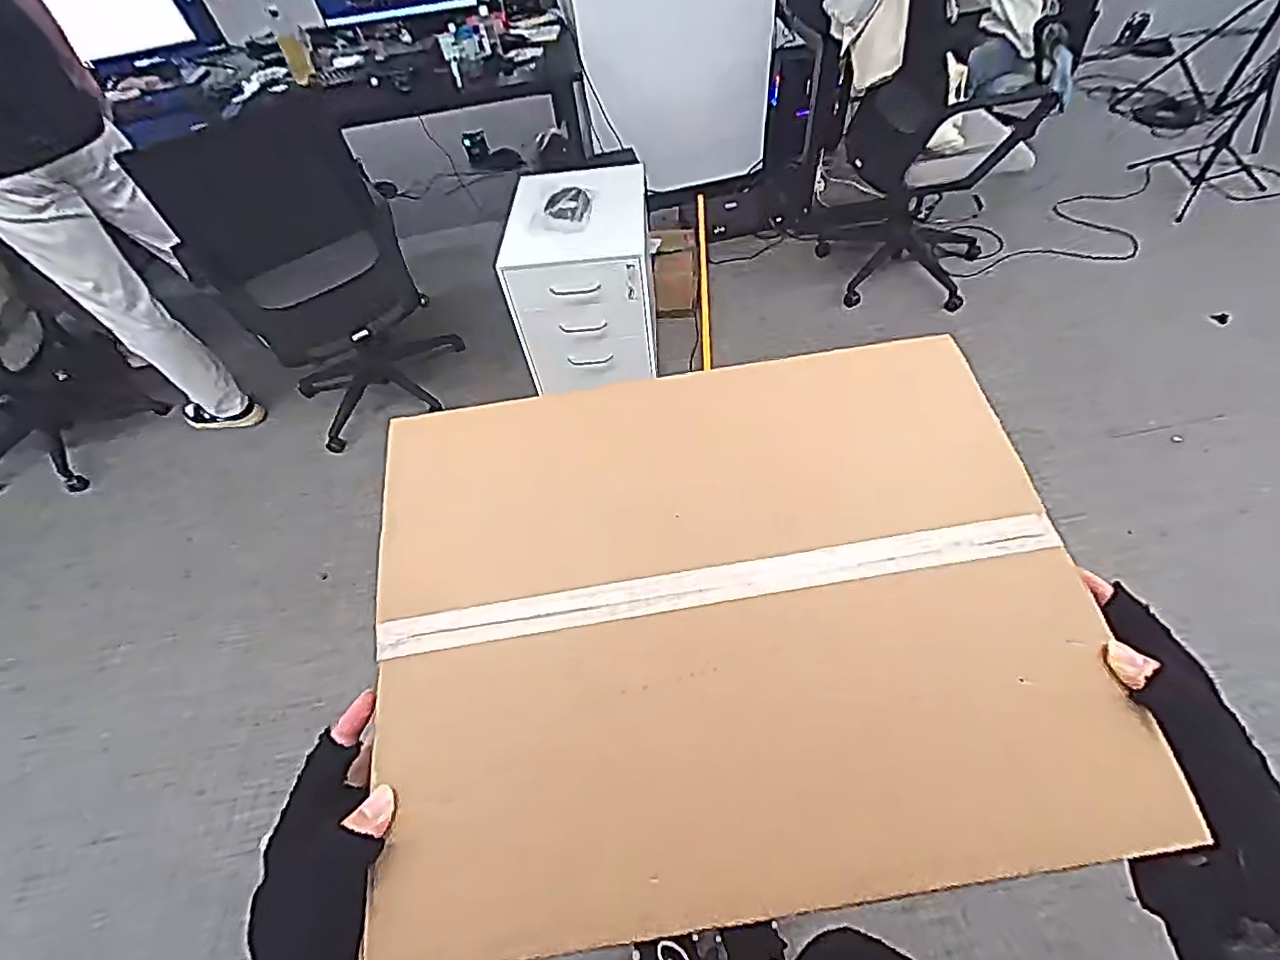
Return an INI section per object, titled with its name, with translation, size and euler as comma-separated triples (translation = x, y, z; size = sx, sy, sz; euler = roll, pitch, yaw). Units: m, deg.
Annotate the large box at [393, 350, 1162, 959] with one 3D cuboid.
[large box]
translation = 0.056, 0.136, 0.468
size = 0.408, 0.320, 0.320
euler = -9, 65, -1
